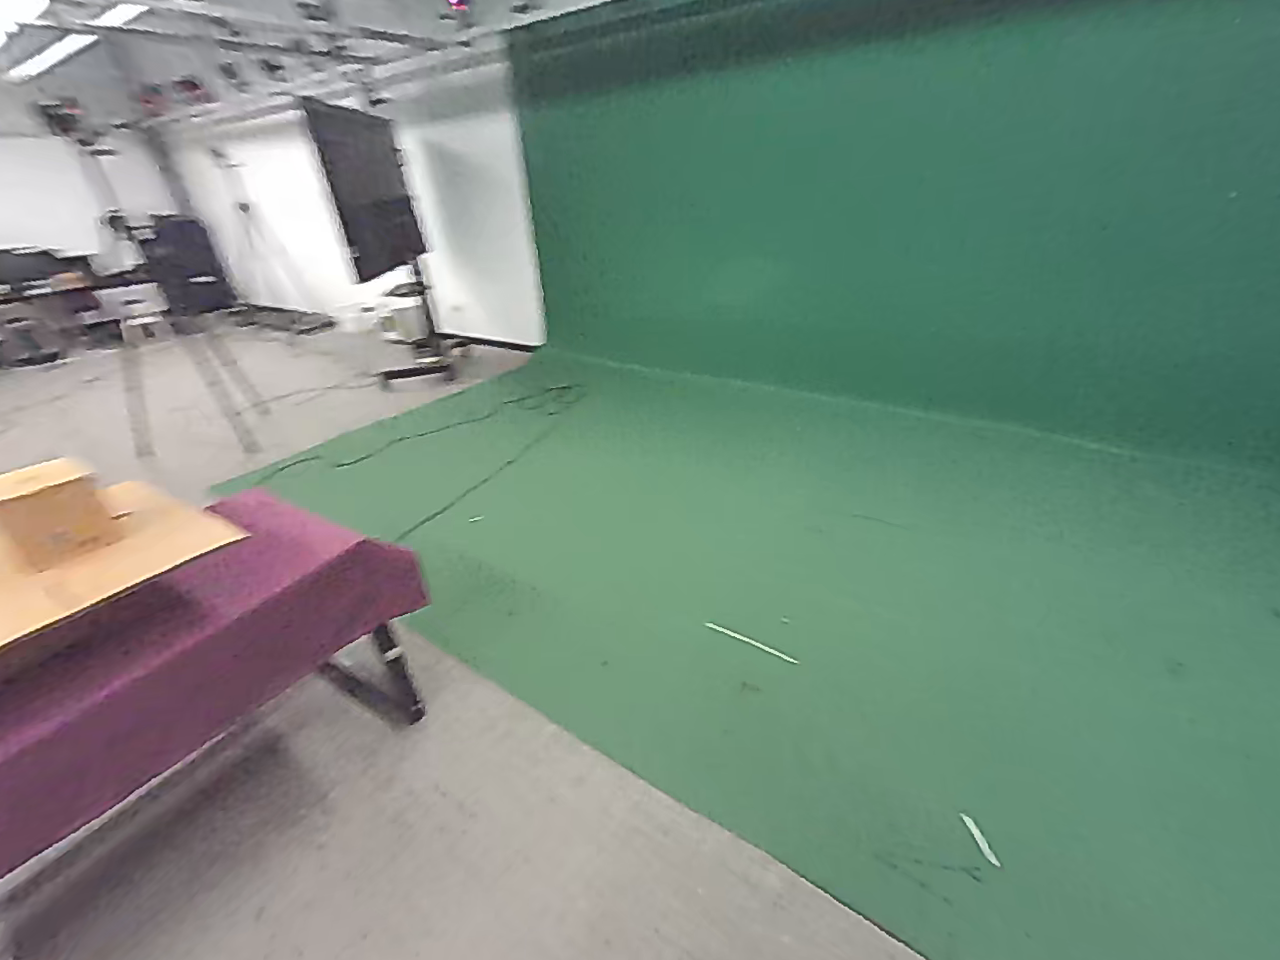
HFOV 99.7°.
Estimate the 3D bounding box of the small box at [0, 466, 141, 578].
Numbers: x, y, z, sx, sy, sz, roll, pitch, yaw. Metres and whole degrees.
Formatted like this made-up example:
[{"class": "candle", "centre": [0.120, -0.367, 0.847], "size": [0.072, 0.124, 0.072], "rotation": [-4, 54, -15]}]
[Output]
[{"class": "small box", "centre": [-1.264, 0.091, 1.195], "size": [0.179, 0.176, 0.168], "rotation": [16, 32, 30]}]
